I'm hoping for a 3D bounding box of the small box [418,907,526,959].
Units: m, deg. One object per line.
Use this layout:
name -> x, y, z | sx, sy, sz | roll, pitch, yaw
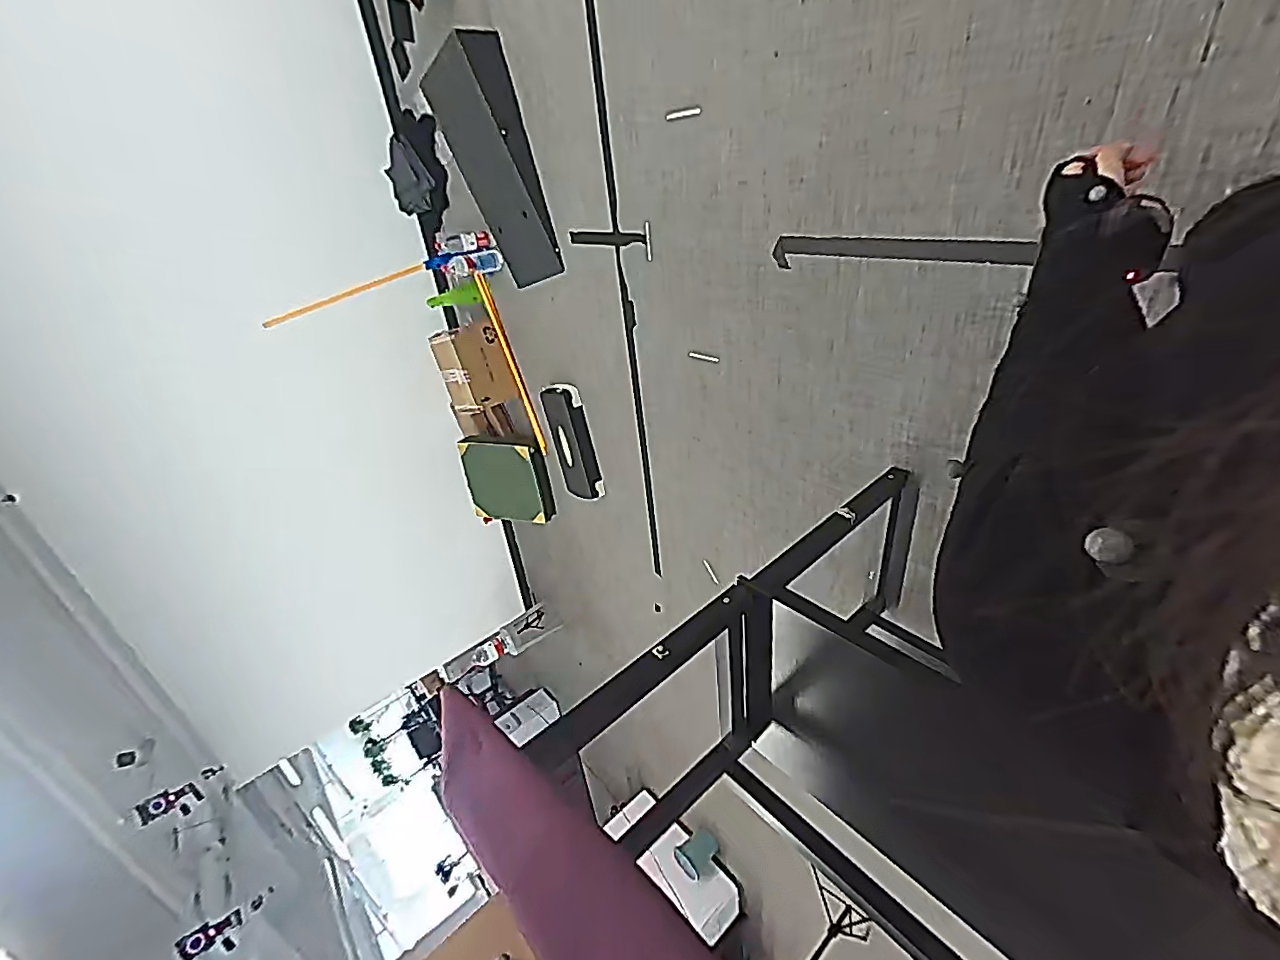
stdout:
small box -> -0.239, 0.788, 0.802 | 0.179, 0.176, 0.168 | 29, 136, 42
